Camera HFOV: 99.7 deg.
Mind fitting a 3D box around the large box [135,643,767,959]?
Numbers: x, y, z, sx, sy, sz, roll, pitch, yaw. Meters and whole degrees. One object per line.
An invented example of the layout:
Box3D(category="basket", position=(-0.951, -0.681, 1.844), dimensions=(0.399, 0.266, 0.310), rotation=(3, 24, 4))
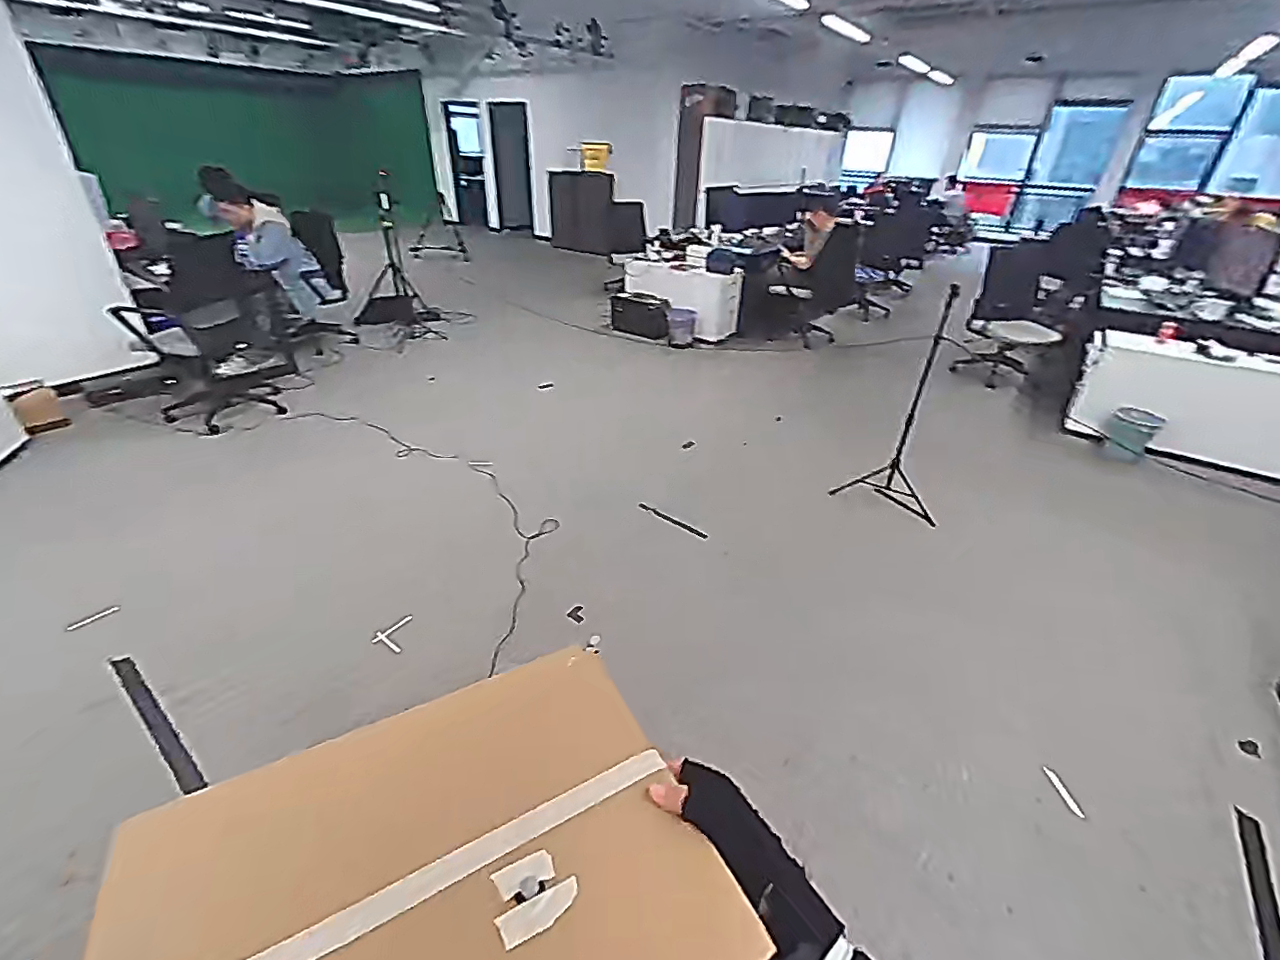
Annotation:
Box3D(category="large box", position=(-0.156, 0.428, 0.495), dimensions=(0.408, 0.320, 0.320), rotation=(-14, 36, -25))
